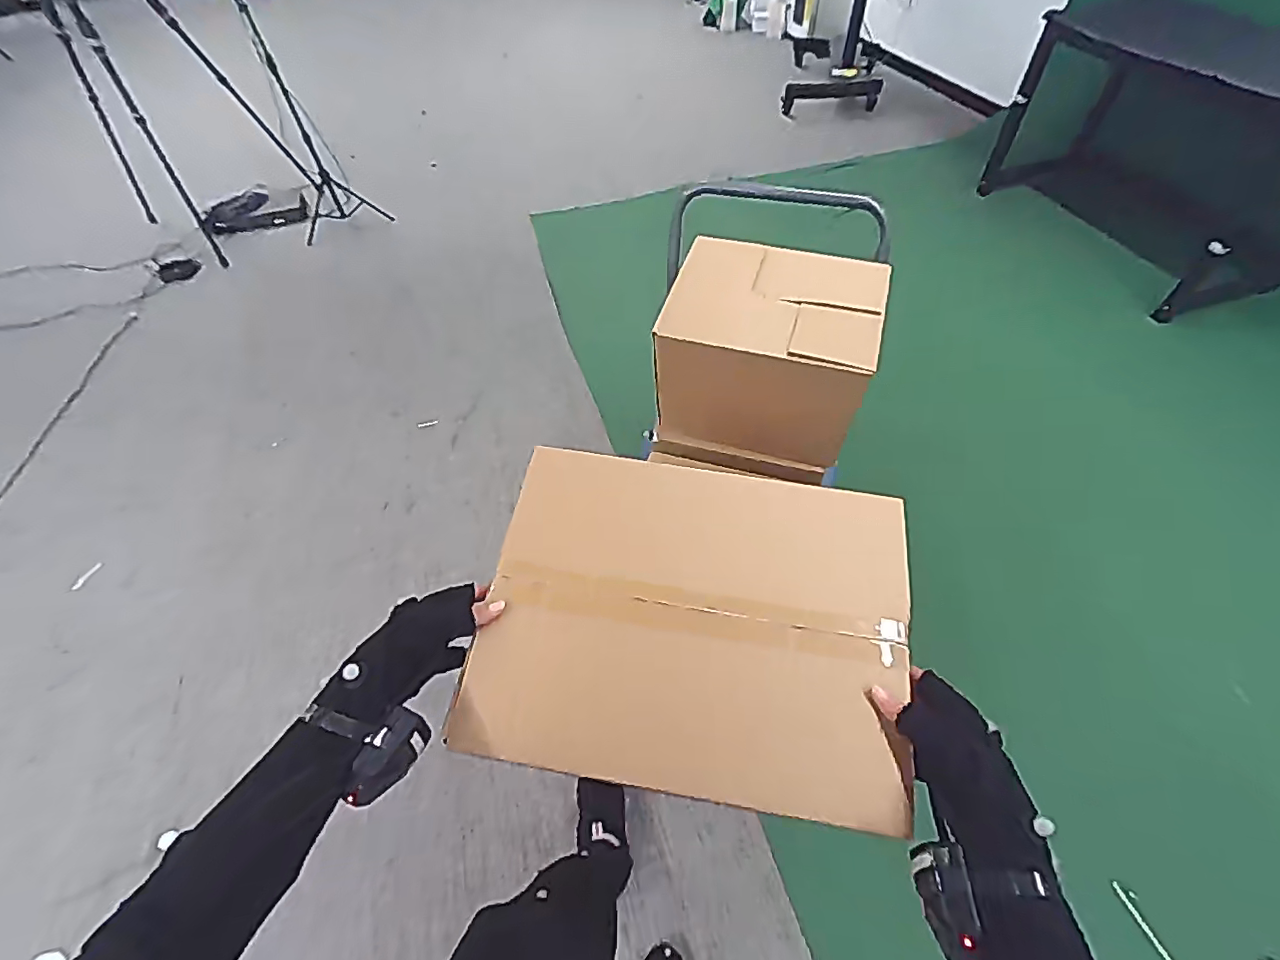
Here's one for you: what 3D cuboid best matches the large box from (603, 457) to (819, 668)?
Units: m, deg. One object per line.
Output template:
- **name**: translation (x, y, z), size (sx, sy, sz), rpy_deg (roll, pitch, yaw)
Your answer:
- **large box**: translation (0.165, 0.192, 1.243), size (0.408, 0.320, 0.320), rpy_deg (13, 54, 13)
